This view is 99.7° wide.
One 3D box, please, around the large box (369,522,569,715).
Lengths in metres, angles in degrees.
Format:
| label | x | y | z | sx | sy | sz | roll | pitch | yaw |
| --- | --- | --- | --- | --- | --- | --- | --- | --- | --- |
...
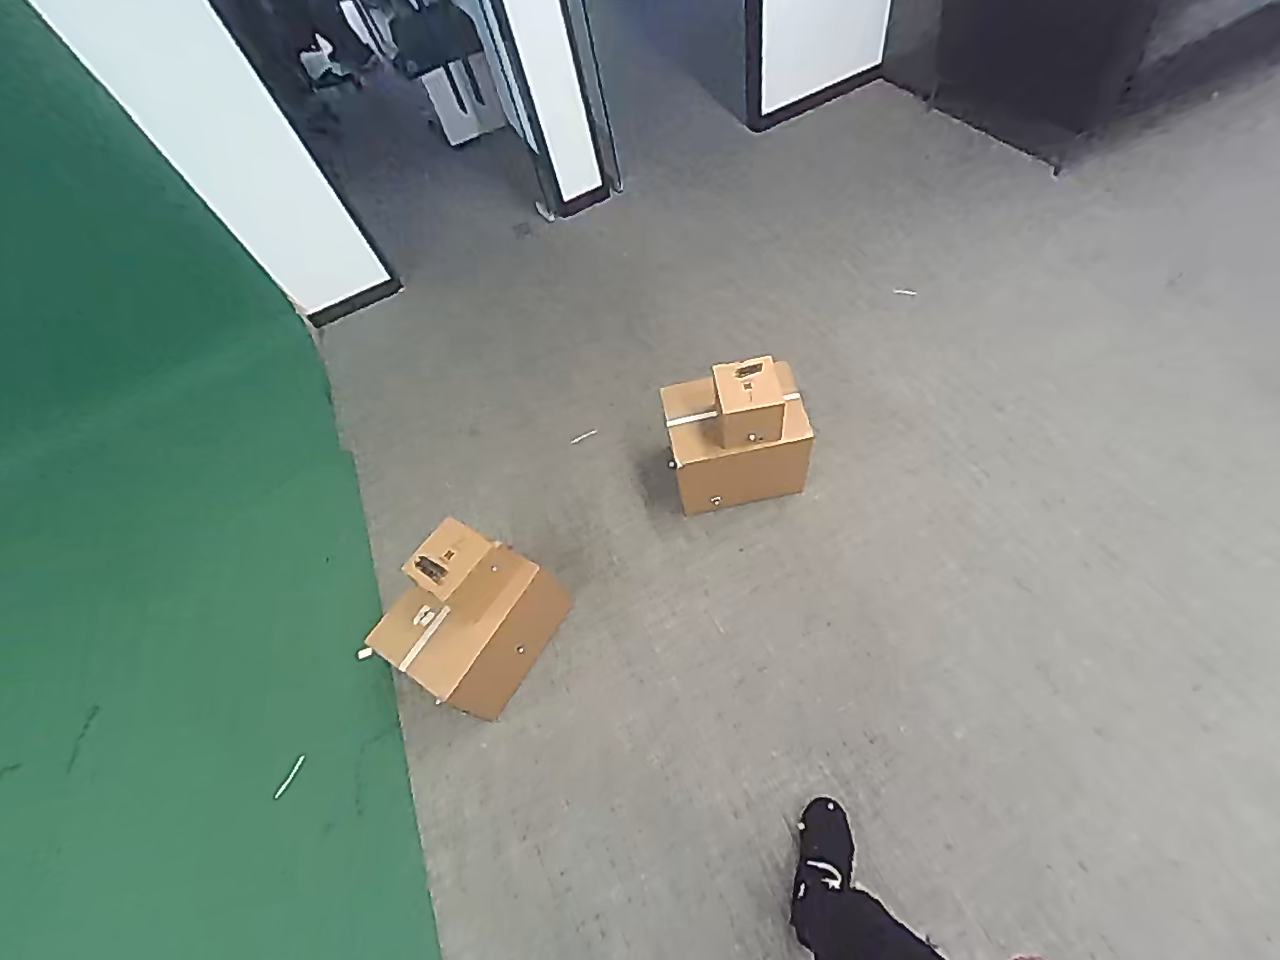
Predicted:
| label | x | y | z | sx | sy | sz | roll | pitch | yaw |
| --- | --- | --- | --- | --- | --- | --- | --- | --- | --- |
| large box | -0.469 | 0.403 | 1.574 | 0.320 | 0.320 | 0.408 | 23 | 66 | 25 |

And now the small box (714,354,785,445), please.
| label | x | y | z | sx | sy | sz | roll | pitch | yaw |
| --- | --- | --- | --- | --- | --- | --- | --- | --- | --- |
| small box | 0.301 | -0.222 | 1.516 | 0.168 | 0.176 | 0.179 | -9 | 59 | 6 |
